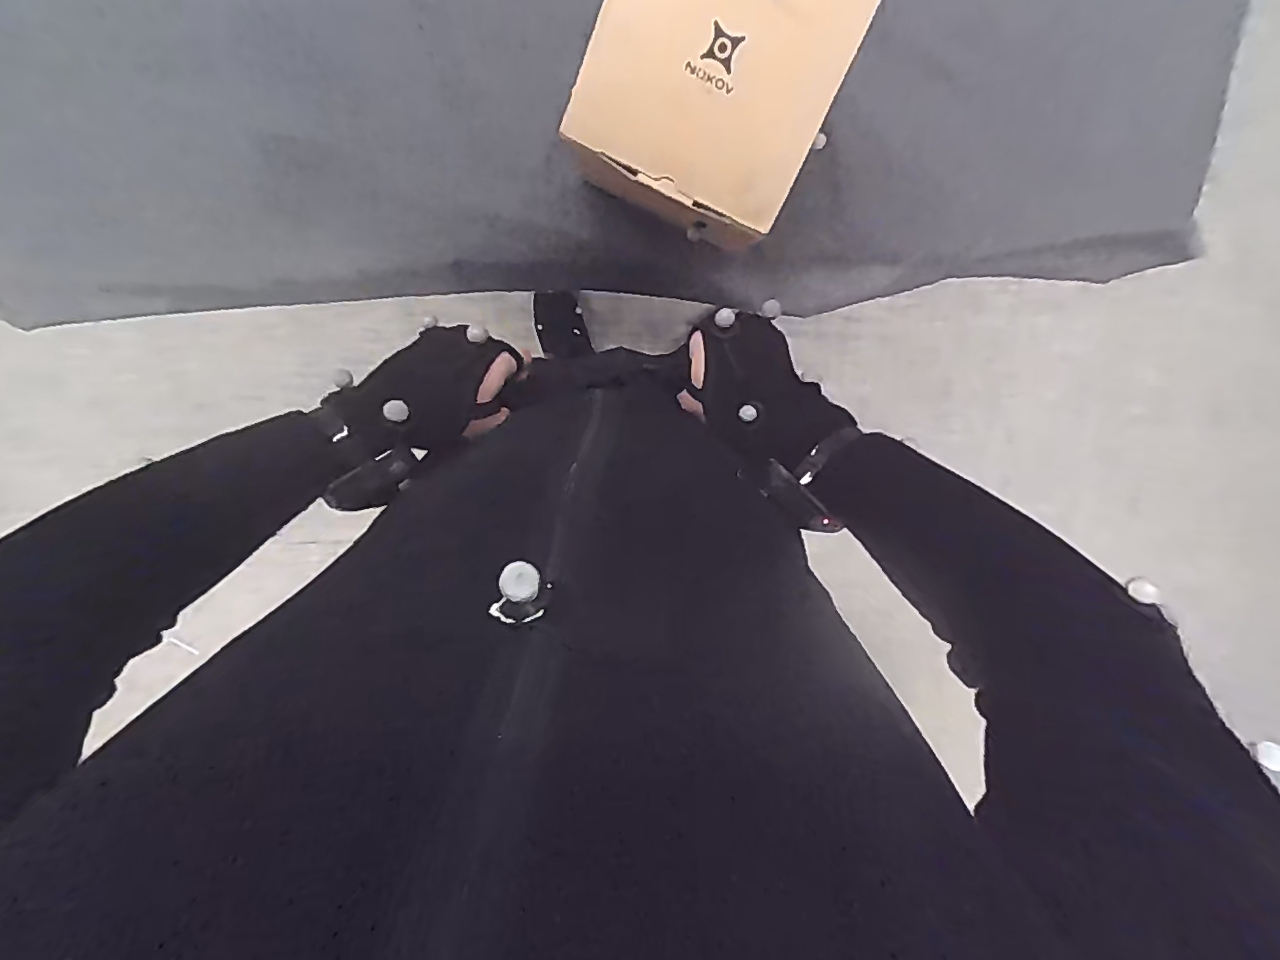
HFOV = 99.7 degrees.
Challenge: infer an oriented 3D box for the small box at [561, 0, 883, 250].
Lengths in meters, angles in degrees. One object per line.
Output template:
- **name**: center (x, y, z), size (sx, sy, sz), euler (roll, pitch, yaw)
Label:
- **small box**: center (0.052, -0.304, 0.435), size (0.168, 0.176, 0.179), euler (22, 108, -9)
